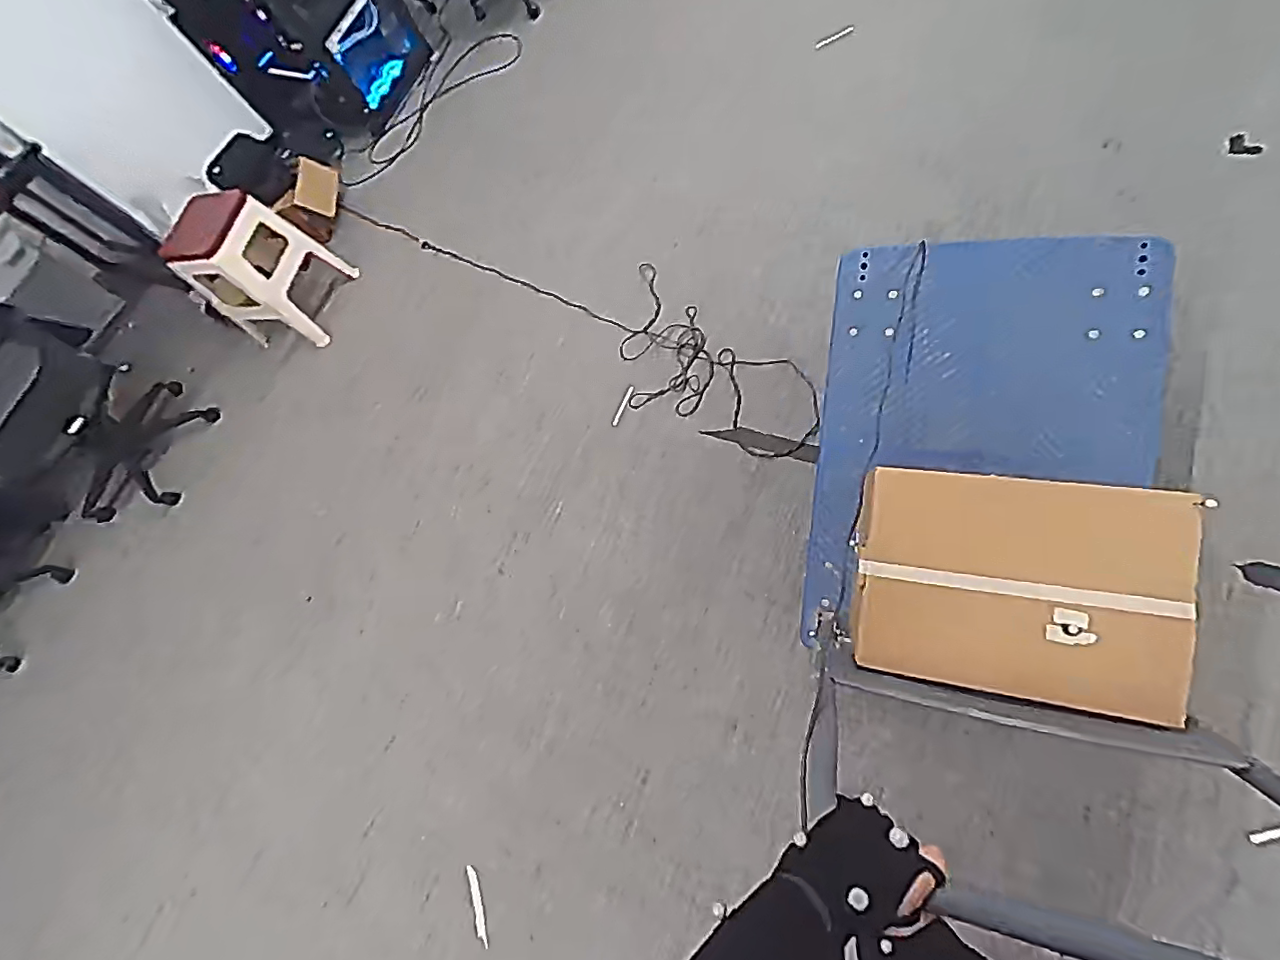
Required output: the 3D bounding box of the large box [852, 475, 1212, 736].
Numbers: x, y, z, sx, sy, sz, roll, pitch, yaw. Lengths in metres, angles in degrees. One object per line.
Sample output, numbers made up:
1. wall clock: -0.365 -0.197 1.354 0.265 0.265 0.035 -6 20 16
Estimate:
1. large box: 0.583 0.171 0.898 0.408 0.320 0.320 6 89 18
